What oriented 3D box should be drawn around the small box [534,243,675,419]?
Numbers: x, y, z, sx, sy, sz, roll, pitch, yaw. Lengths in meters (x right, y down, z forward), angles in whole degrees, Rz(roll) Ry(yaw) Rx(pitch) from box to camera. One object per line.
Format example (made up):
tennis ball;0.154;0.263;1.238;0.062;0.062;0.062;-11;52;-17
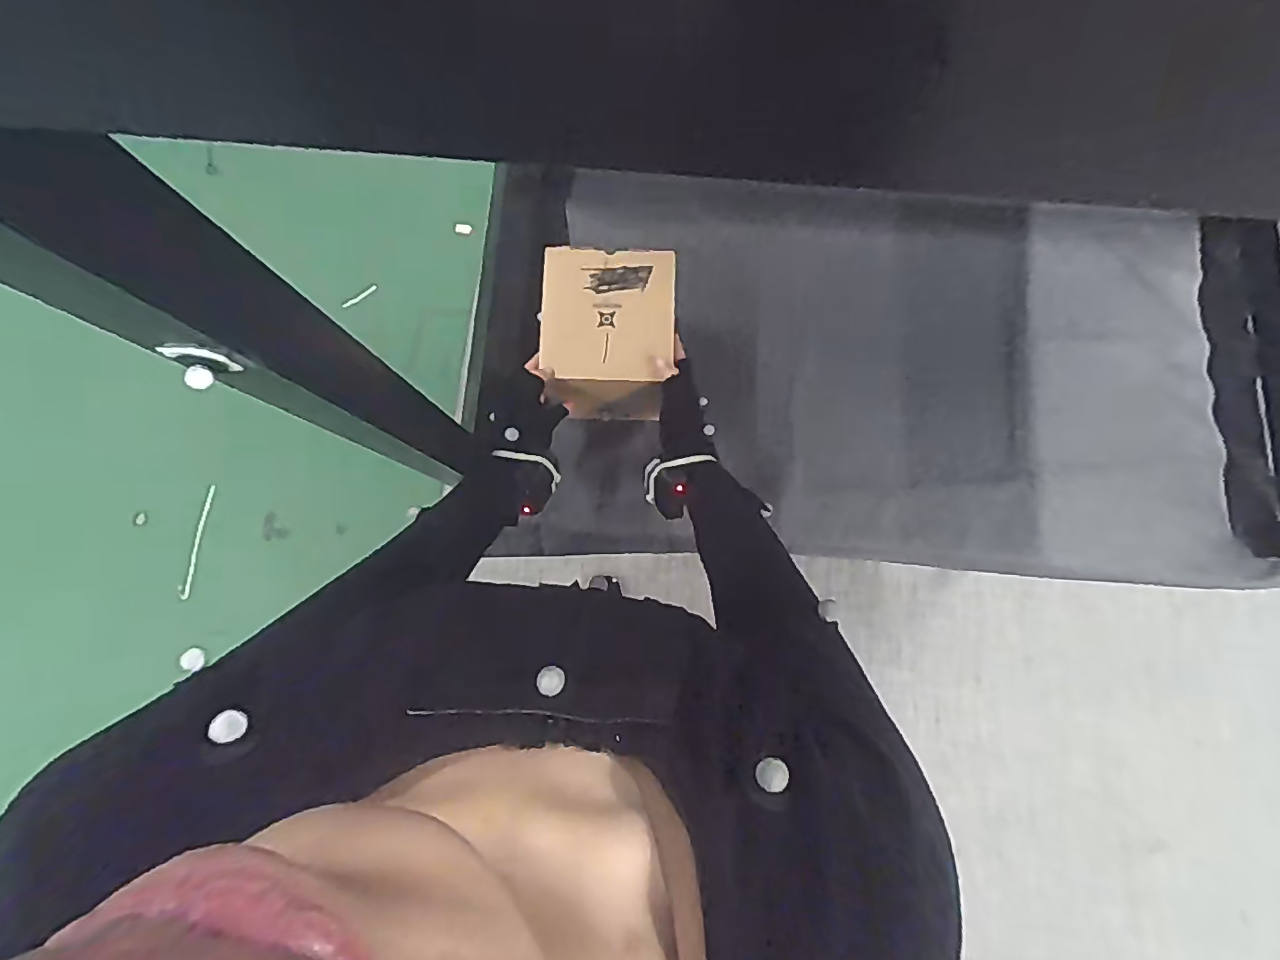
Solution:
small box;-0.043;-0.194;0.739;0.168;0.176;0.179;2;81;0
